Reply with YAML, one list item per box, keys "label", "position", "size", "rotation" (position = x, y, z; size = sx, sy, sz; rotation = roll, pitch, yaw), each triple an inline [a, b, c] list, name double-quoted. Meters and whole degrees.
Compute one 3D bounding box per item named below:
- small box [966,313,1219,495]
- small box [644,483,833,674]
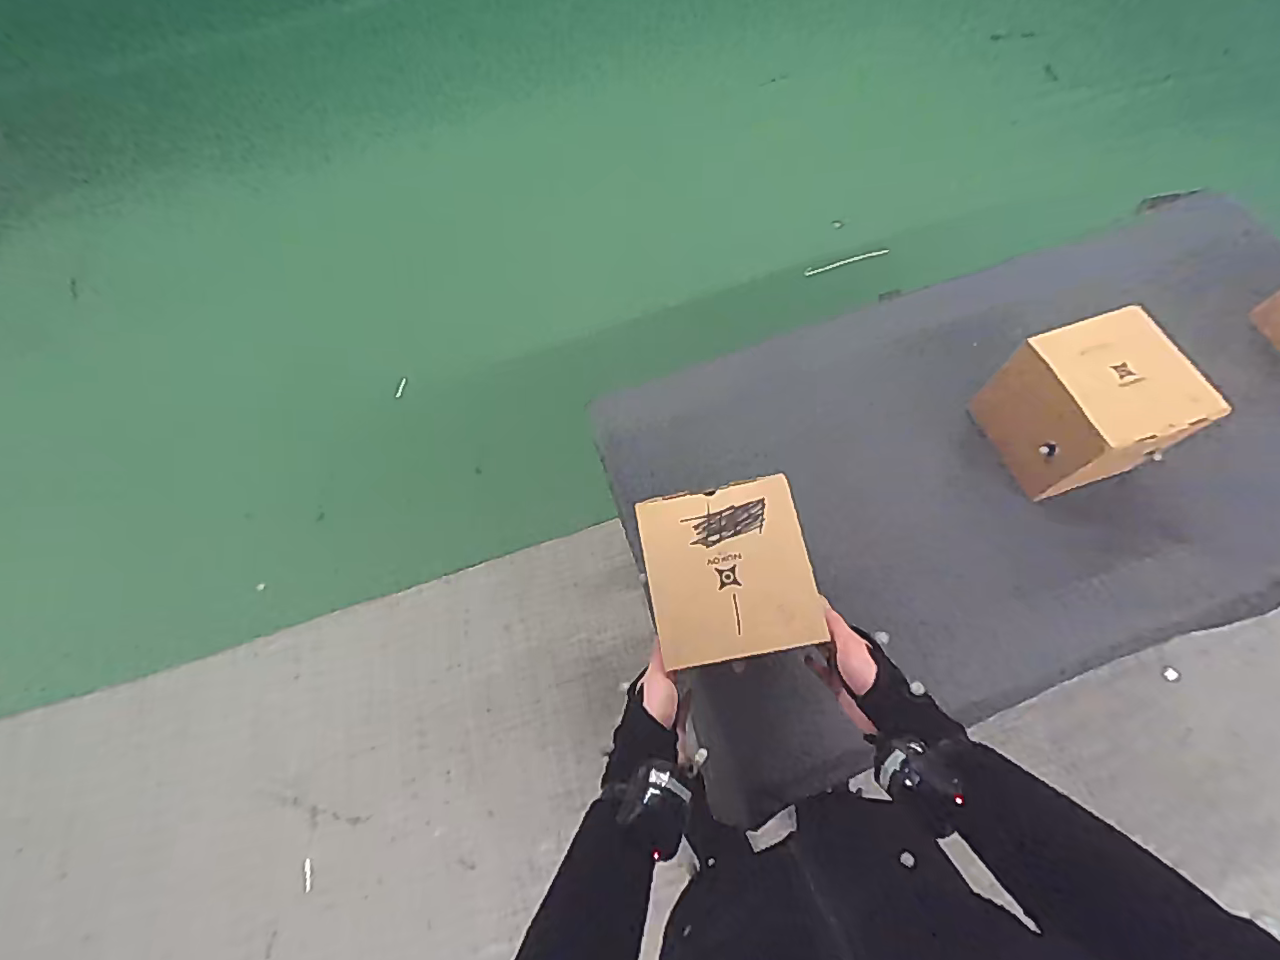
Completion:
- label: "small box"
  position: [0.610, -0.094, 0.760]
  size: [0.168, 0.176, 0.179]
  rotation: [-18, 65, -5]
- label: "small box"
  position: [0.105, 0.122, 0.631]
  size: [0.168, 0.176, 0.179]
  rotation: [-11, 72, 4]
